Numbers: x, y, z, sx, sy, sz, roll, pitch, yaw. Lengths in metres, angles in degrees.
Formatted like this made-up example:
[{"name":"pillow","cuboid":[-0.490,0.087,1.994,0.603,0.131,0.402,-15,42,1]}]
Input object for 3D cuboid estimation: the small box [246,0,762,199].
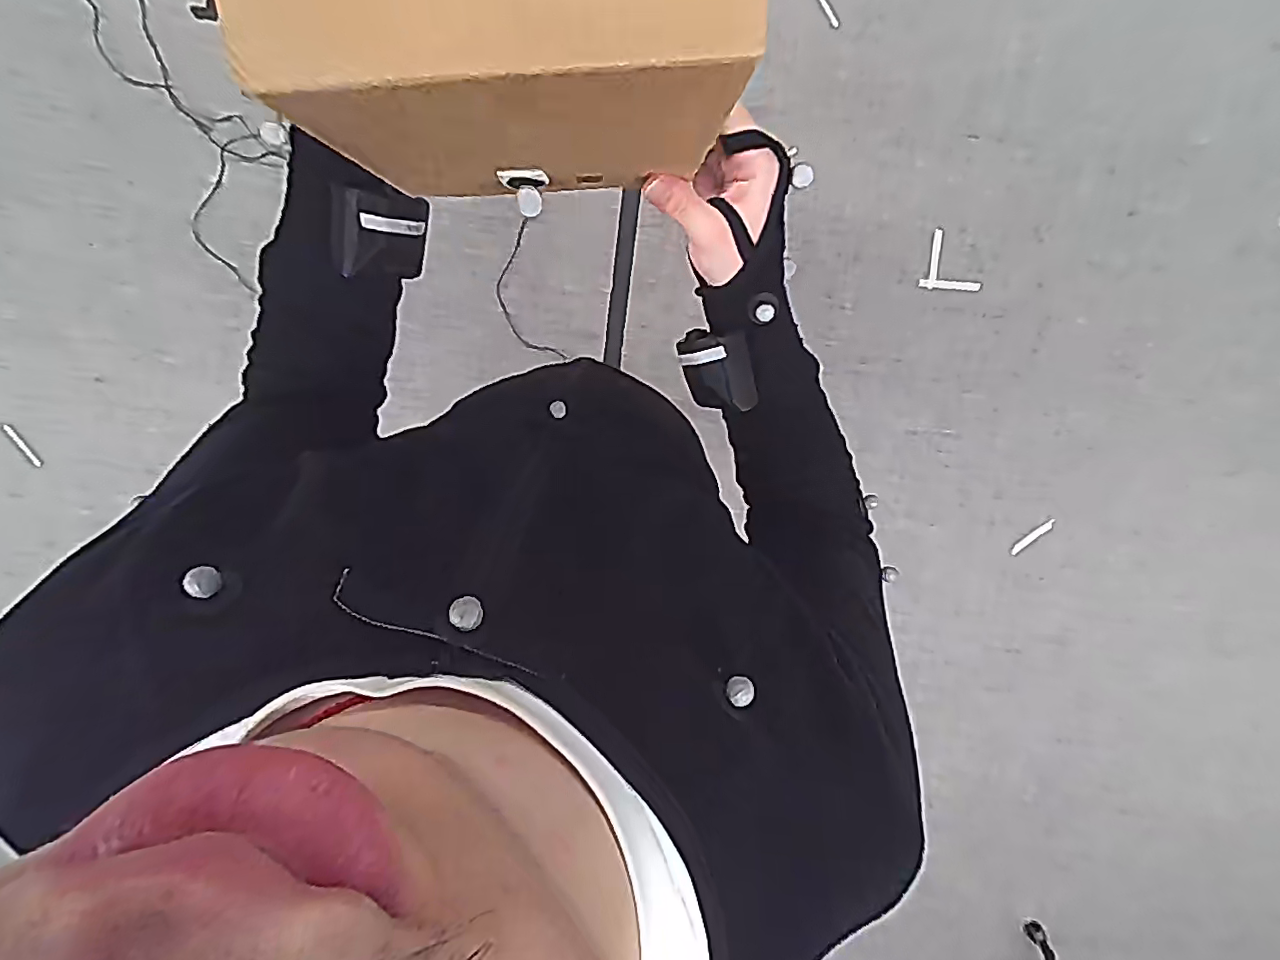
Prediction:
[{"name":"small box","cuboid":[-0.051,-0.238,0.231,0.168,0.176,0.179,-6,108,-1]}]
